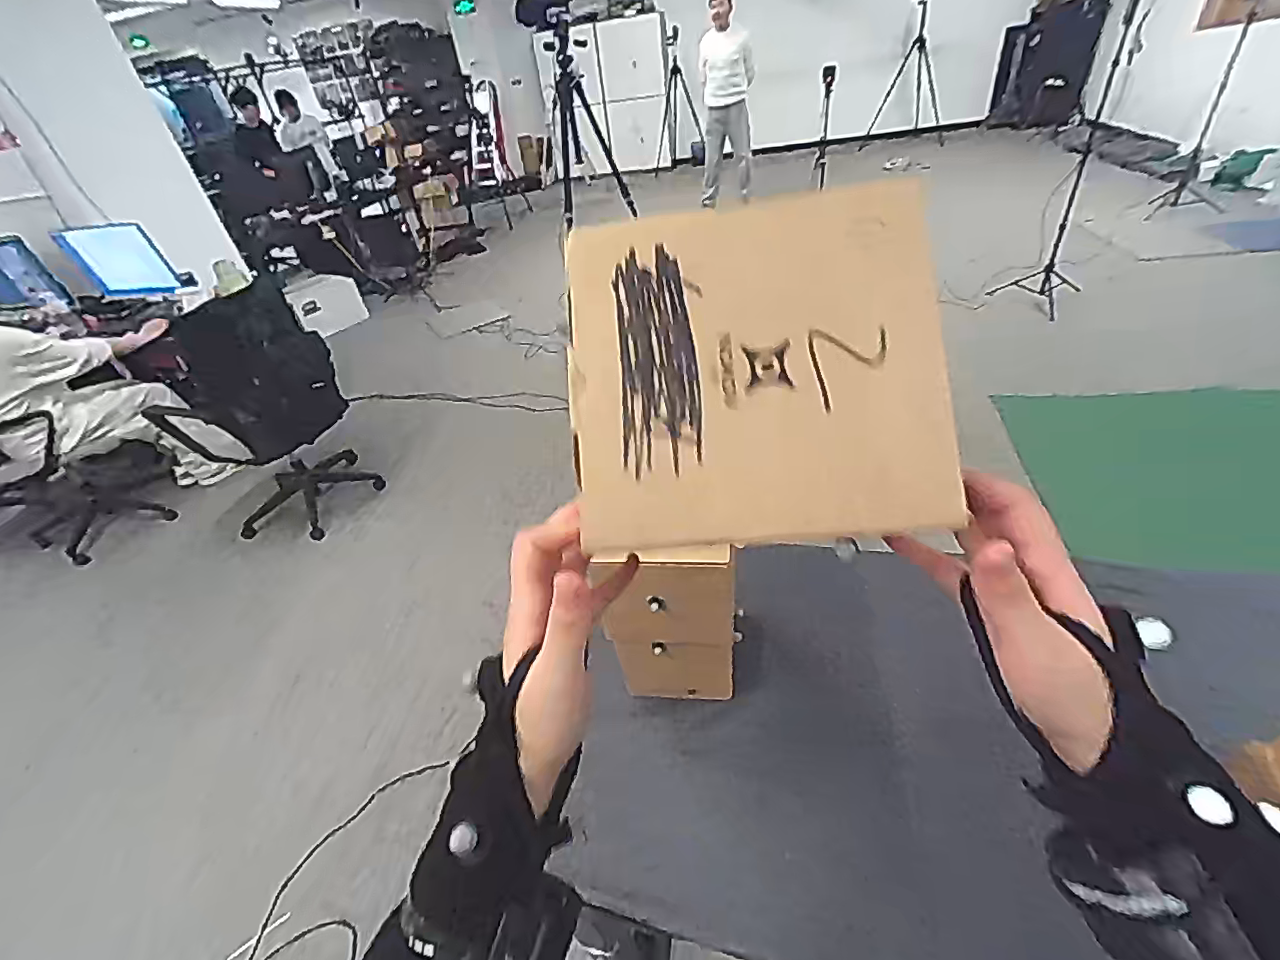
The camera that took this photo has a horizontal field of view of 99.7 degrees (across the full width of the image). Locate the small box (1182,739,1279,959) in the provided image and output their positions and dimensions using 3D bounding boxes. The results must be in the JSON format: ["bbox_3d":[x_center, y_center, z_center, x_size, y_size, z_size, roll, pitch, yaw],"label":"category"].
[{"bbox_3d":[0.692,0.383,0.518,0.168,0.176,0.179,0,39,15],"label":"small box"}]

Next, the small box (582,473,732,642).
[{"bbox_3d":[0.037,0.107,0.745,0.179,0.176,0.168,-1,41,11],"label":"small box"}]

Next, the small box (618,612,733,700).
[{"bbox_3d":[0.061,0.223,0.861,0.168,0.176,0.179,-2,40,10],"label":"small box"}]
